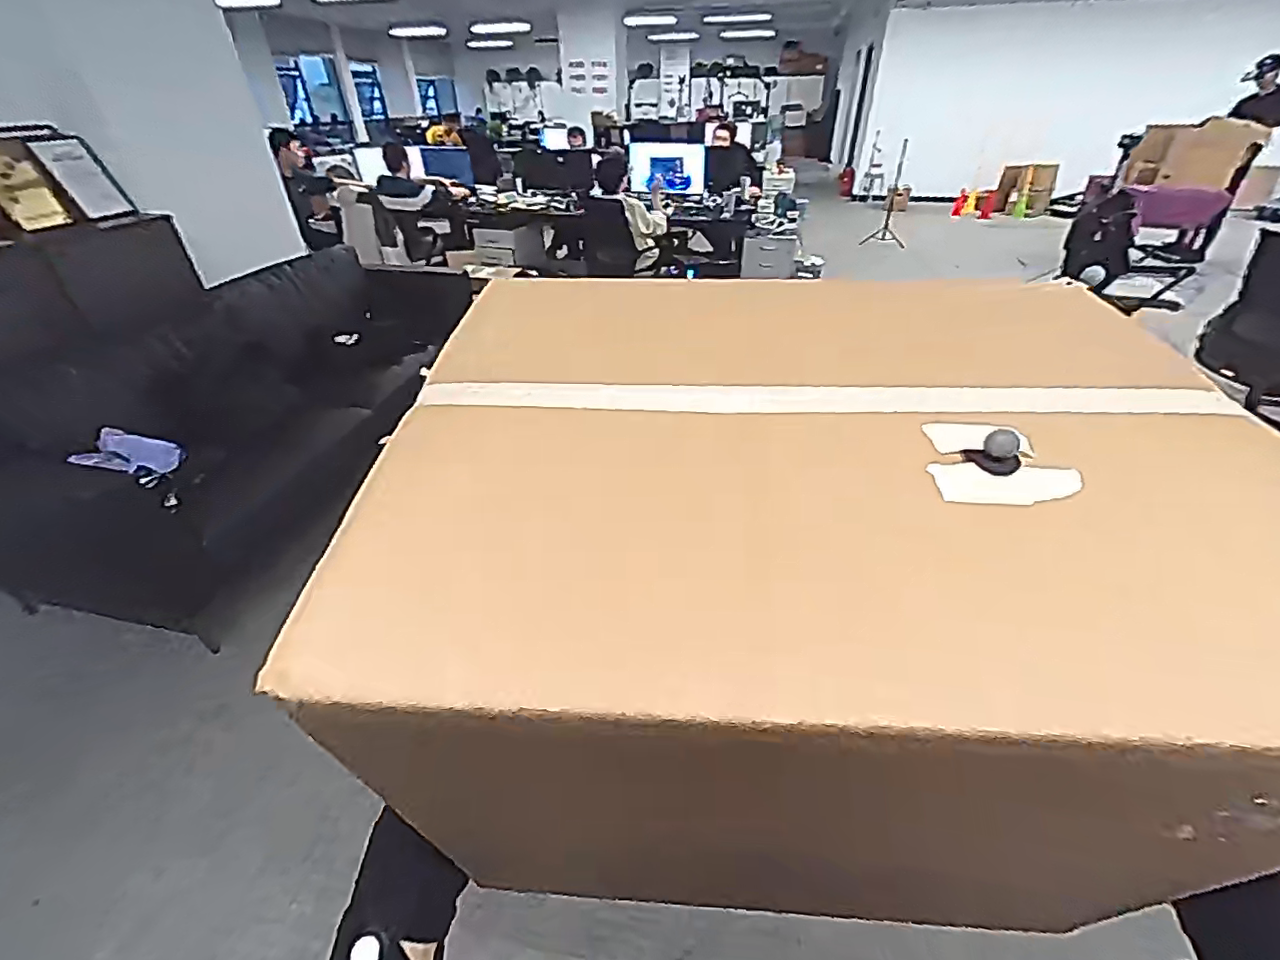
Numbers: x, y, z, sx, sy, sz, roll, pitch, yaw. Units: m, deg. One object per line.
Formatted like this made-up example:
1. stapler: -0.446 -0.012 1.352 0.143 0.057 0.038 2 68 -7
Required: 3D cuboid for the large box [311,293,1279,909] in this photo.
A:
1. large box: 0.090 0.078 0.385 0.408 0.320 0.320 2 44 3
